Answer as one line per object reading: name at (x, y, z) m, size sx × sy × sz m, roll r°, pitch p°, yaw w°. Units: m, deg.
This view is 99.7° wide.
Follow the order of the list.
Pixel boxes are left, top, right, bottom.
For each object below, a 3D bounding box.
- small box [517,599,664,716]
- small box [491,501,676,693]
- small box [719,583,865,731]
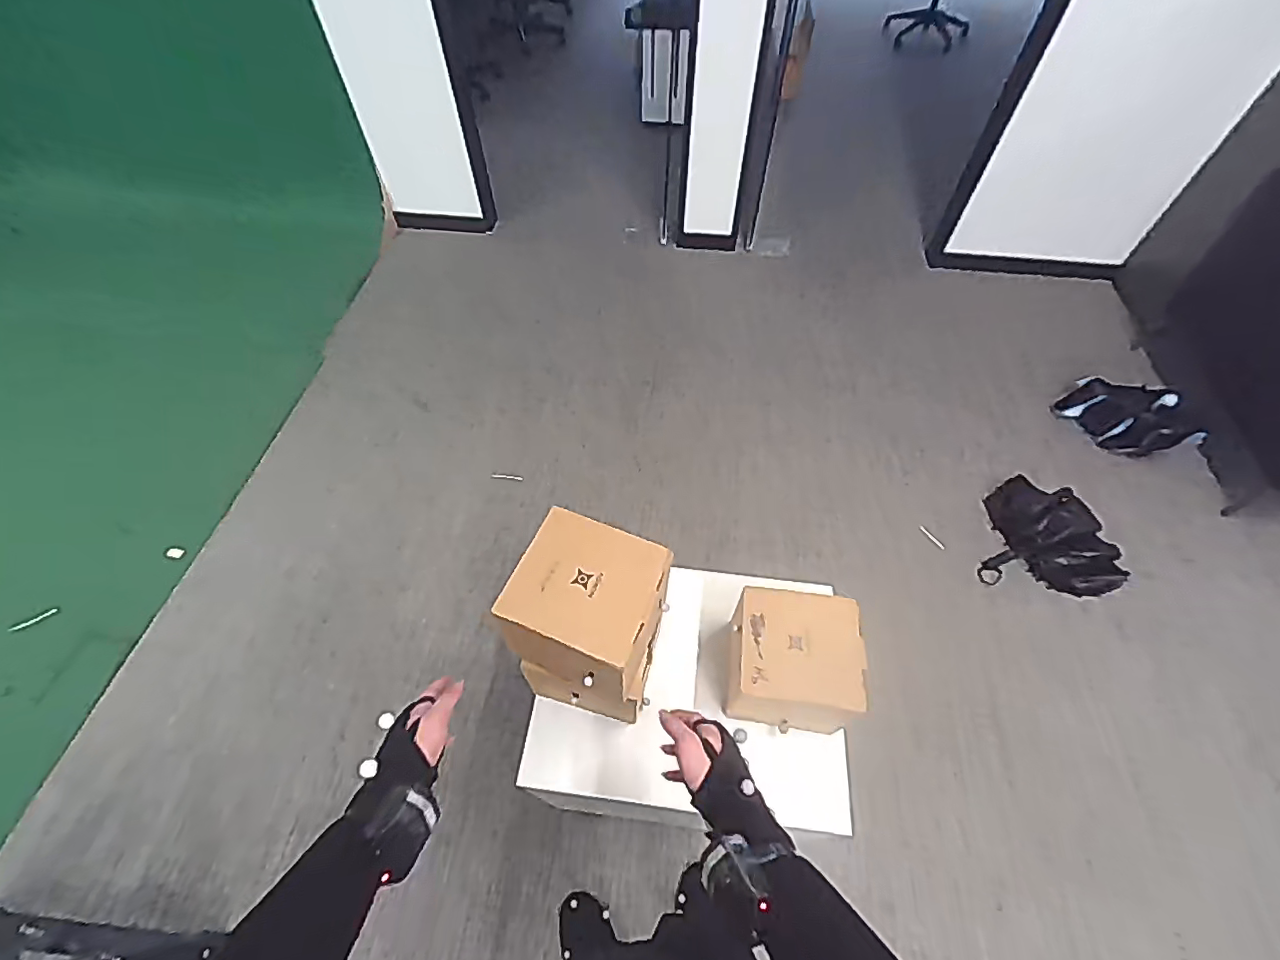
small box at (-0.071, 0.255, 0.851) m, size 0.179 × 0.176 × 0.168 m, roll 14°, pitch 55°, yaw 7°
small box at (-0.068, 0.162, 0.718) m, size 0.179 × 0.176 × 0.168 m, roll 19°, pitch 55°, yaw 11°
small box at (0.229, 0.283, 0.847) m, size 0.179 × 0.176 × 0.168 m, roll 9°, pitch 55°, yaw 3°
